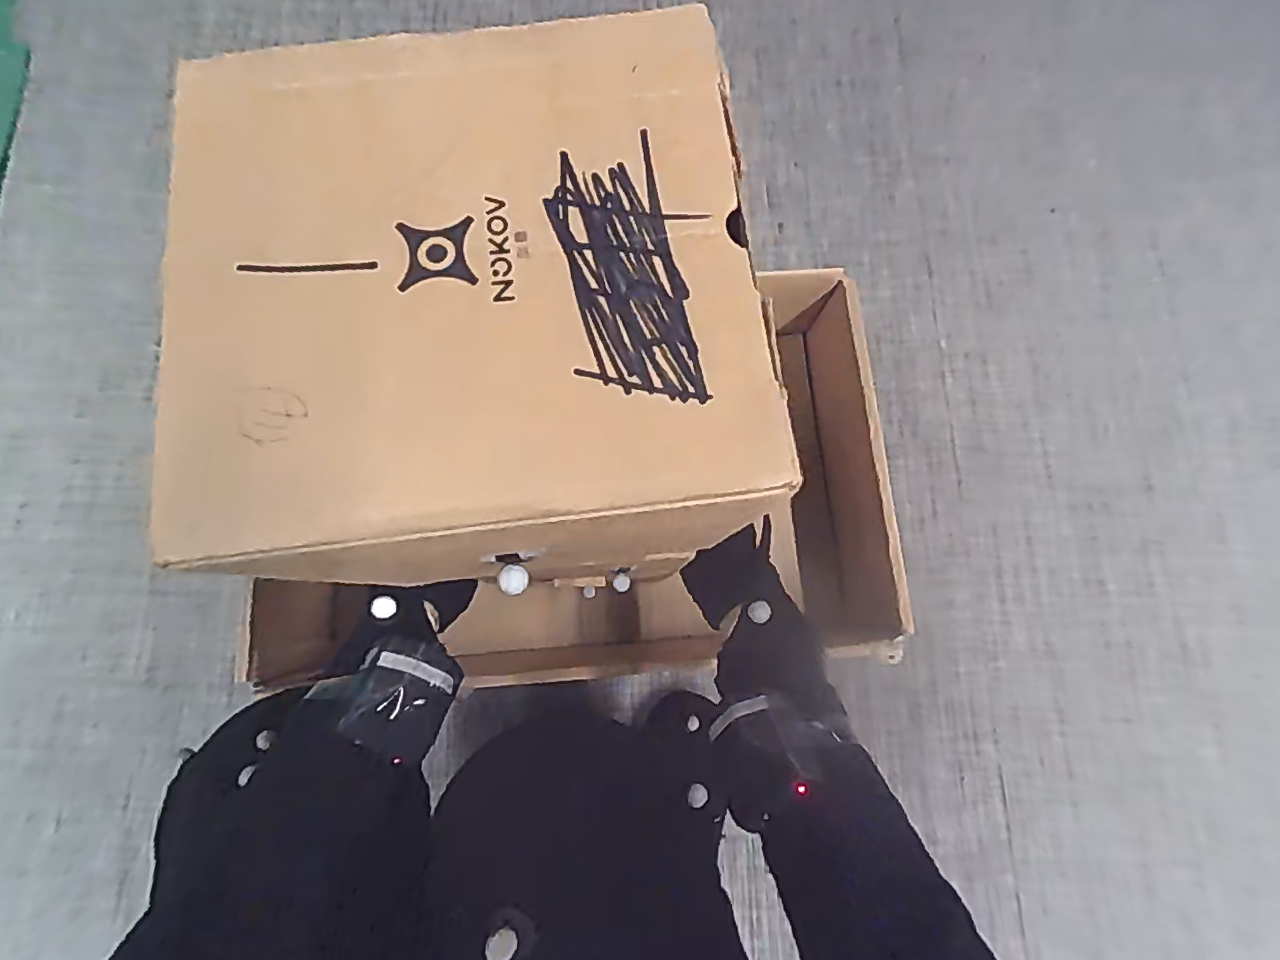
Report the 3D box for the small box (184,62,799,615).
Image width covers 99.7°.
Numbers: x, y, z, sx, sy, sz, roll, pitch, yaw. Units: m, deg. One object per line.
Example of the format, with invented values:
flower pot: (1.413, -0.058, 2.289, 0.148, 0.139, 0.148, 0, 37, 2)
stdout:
small box: (-0.054, -0.038, 0.246, 0.179, 0.176, 0.168, -10, 78, -4)
